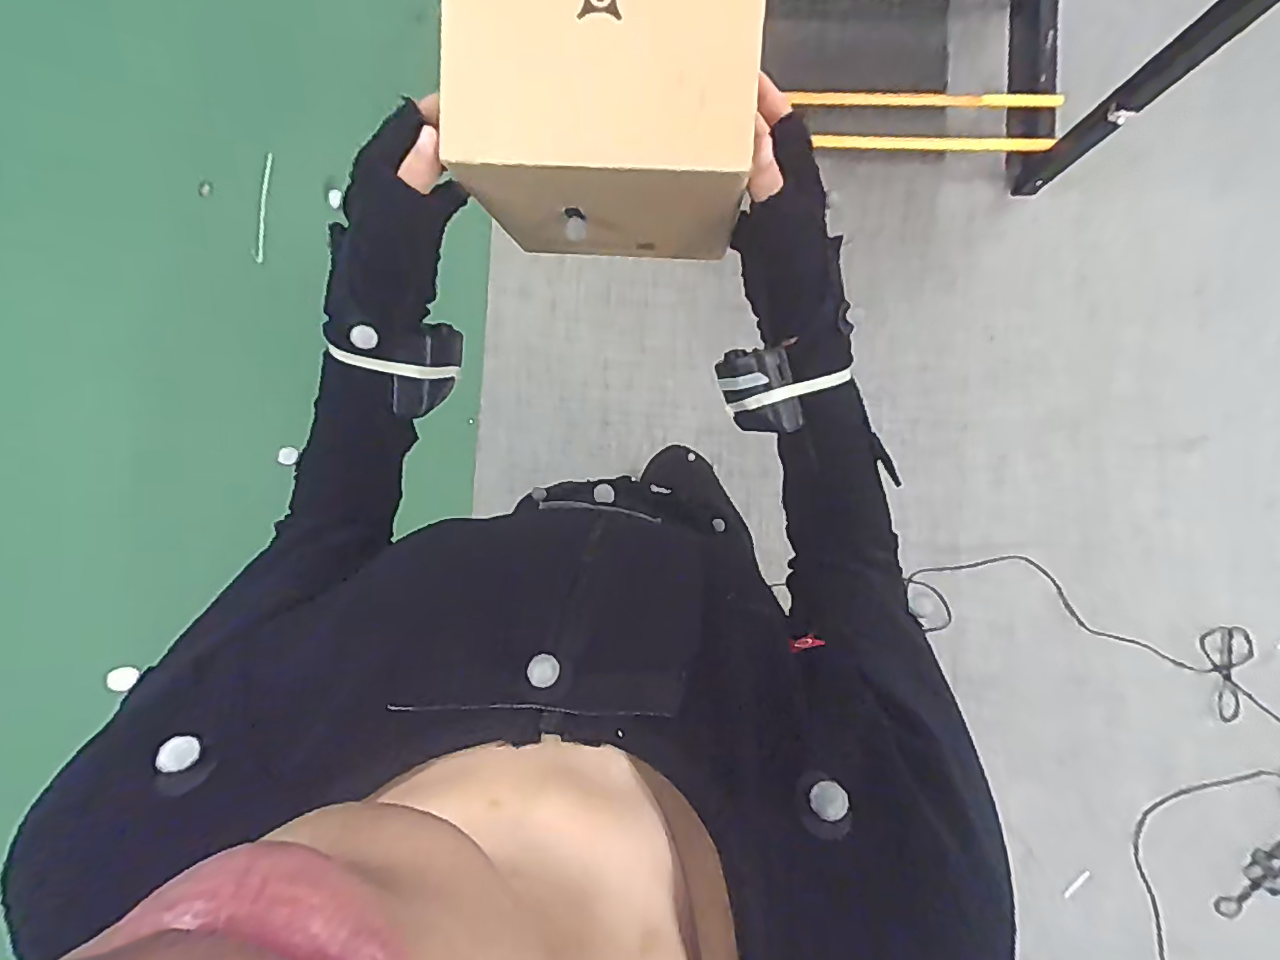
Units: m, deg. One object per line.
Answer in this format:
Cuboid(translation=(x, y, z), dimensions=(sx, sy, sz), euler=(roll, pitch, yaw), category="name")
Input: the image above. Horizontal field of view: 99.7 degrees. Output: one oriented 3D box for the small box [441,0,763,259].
Cuboid(translation=(-0.013, -0.256, 0.350), dimensions=(0.168, 0.176, 0.179), euler=(4, 96, 3), category="small box")
